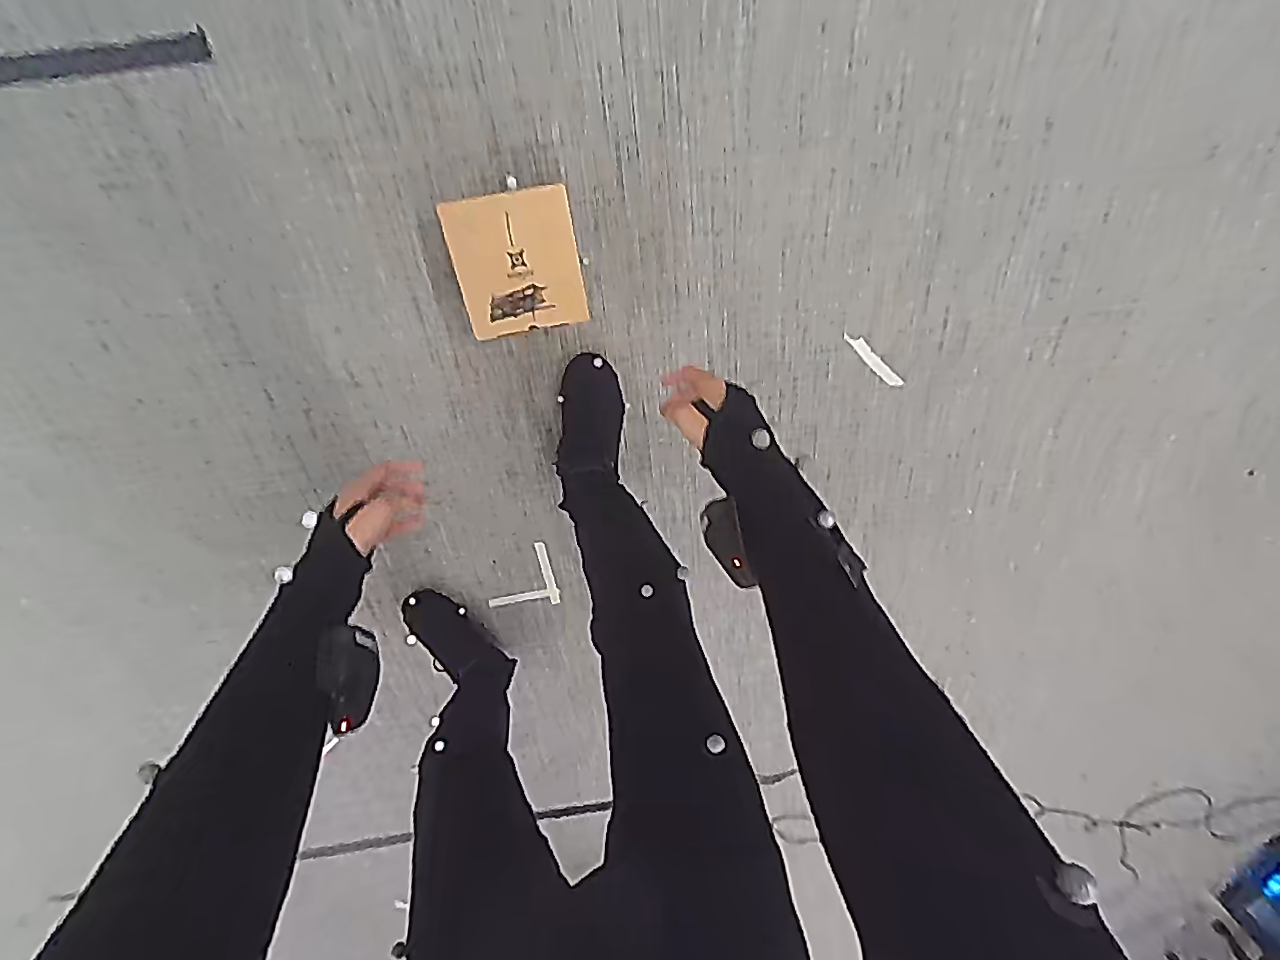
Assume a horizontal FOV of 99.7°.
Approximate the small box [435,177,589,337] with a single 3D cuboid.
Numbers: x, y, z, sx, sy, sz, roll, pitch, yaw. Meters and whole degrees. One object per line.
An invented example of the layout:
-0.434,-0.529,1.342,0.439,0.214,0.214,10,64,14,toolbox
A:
-0.167,-0.322,0.768,0.168,0.176,0.179,-11,120,-2,small box
